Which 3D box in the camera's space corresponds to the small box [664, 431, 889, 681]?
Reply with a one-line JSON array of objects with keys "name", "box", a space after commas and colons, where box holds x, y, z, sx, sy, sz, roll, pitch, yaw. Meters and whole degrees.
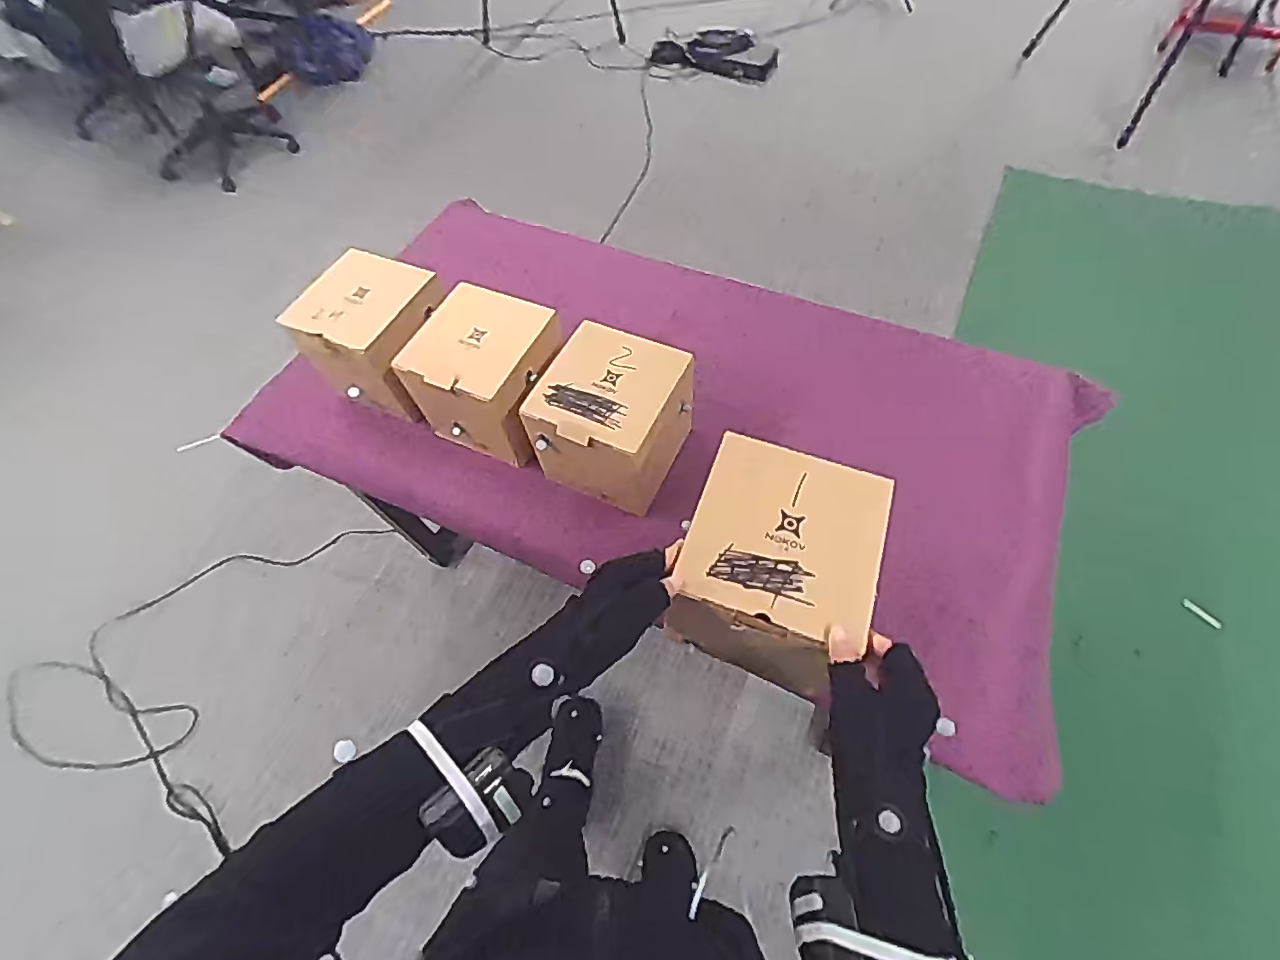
[{"name": "small box", "box": [0.131, 0.085, 0.555, 0.168, 0.176, 0.179, 18, 61, 12]}]
